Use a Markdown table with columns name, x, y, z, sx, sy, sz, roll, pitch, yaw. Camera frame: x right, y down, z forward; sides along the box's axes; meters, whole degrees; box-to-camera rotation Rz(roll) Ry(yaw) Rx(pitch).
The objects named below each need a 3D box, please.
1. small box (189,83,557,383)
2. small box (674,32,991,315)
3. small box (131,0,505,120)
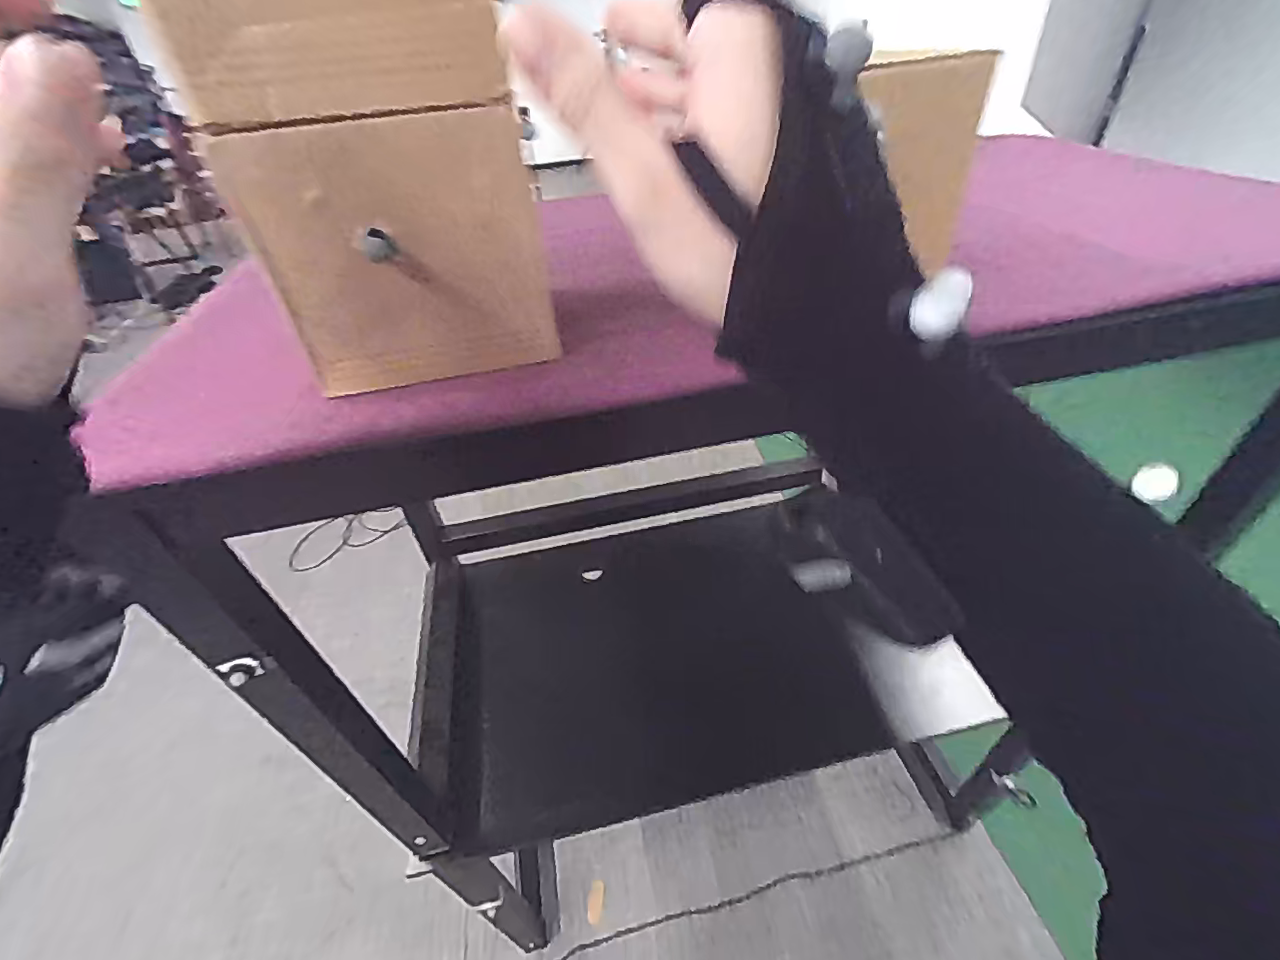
| name | x | y | z | sx | sy | sz | roll | pitch | yaw |
| --- | --- | --- | --- | --- | --- | --- | --- | --- | --- |
| small box | -0.173 | -0.190 | 0.414 | 0.179 | 0.176 | 0.168 | -13 | 39 | -7 |
| small box | 0.136 | -0.251 | 0.449 | 0.179 | 0.176 | 0.168 | -12 | 39 | -7 |
| small box | -0.188 | -0.318 | 0.314 | 0.179 | 0.176 | 0.168 | -12 | 39 | -9 |
